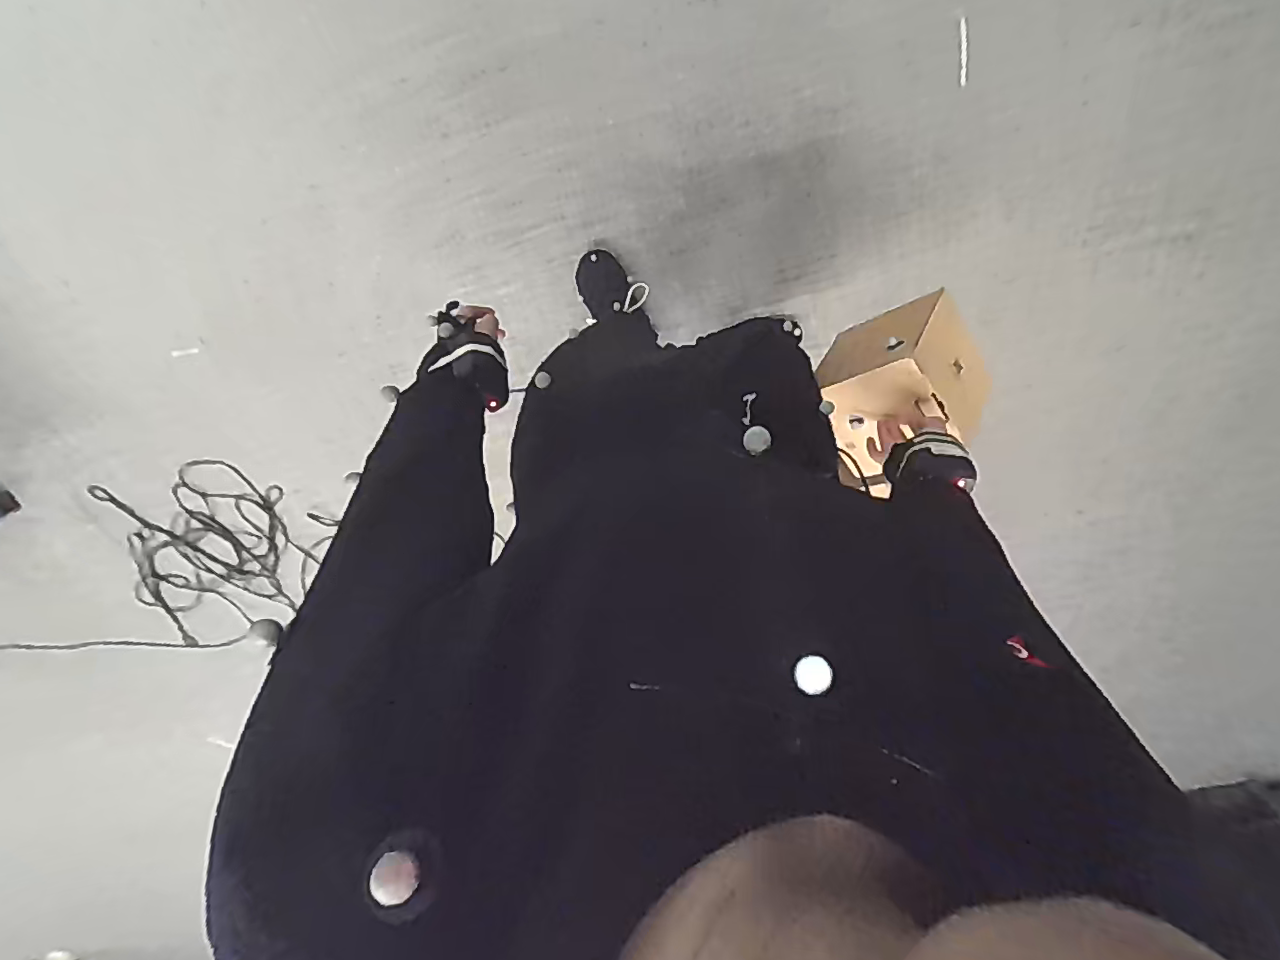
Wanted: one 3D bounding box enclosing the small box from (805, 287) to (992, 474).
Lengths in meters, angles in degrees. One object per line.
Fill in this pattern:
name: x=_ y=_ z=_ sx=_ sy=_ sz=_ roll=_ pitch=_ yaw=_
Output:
small box: x=0.361 y=-0.131 z=0.762 sx=0.168 sy=0.179 sz=0.176 roll=49 pitch=146 yaw=-19
